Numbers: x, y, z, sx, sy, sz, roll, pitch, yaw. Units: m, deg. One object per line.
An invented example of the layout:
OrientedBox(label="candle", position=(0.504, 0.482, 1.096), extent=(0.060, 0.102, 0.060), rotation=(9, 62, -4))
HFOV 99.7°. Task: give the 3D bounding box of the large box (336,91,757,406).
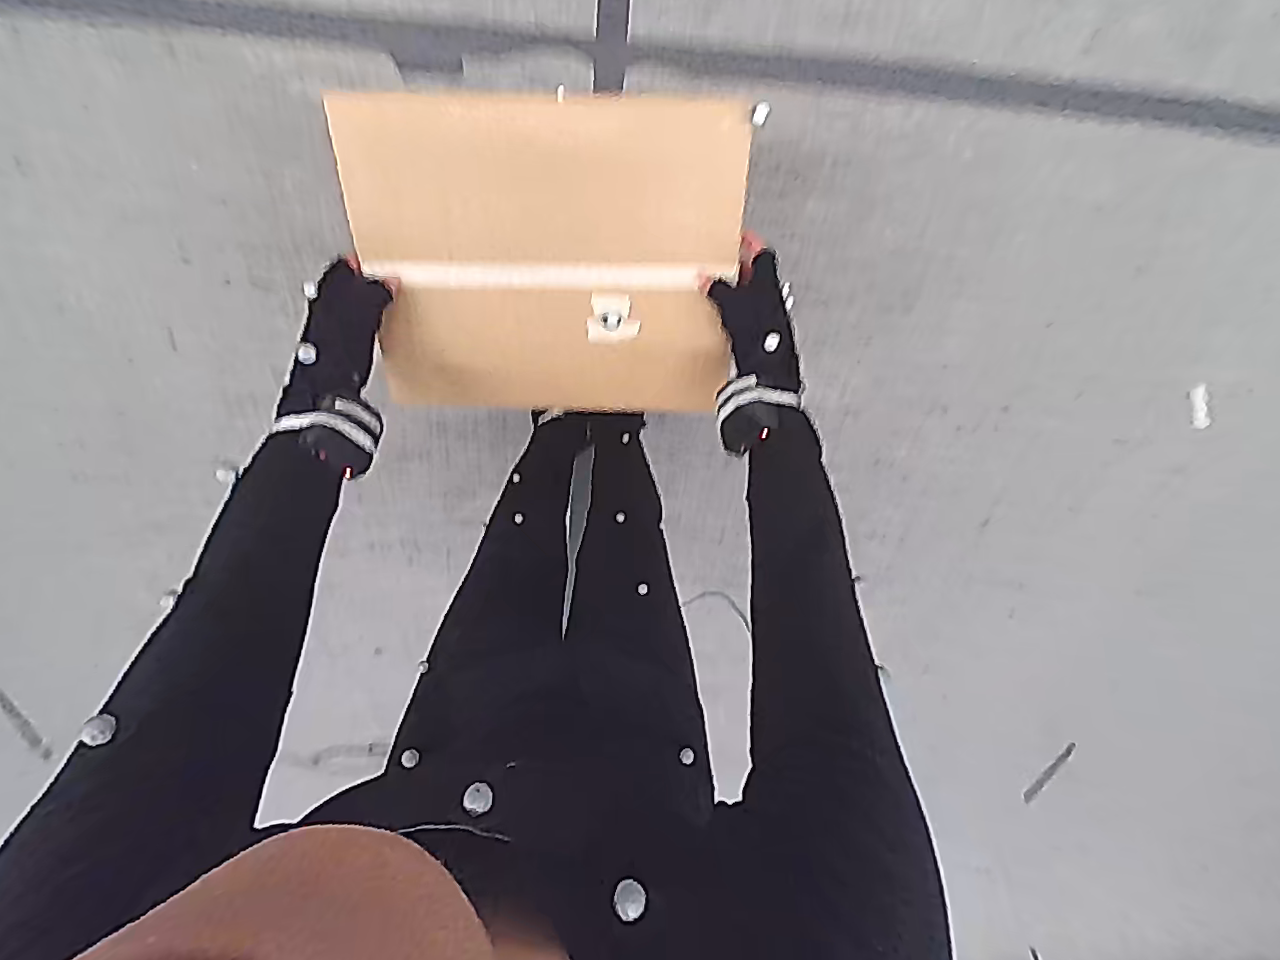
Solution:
OrientedBox(label="large box", position=(-0.089, -0.298, 0.707), extent=(0.408, 0.320, 0.320), rotation=(0, 121, 0))
